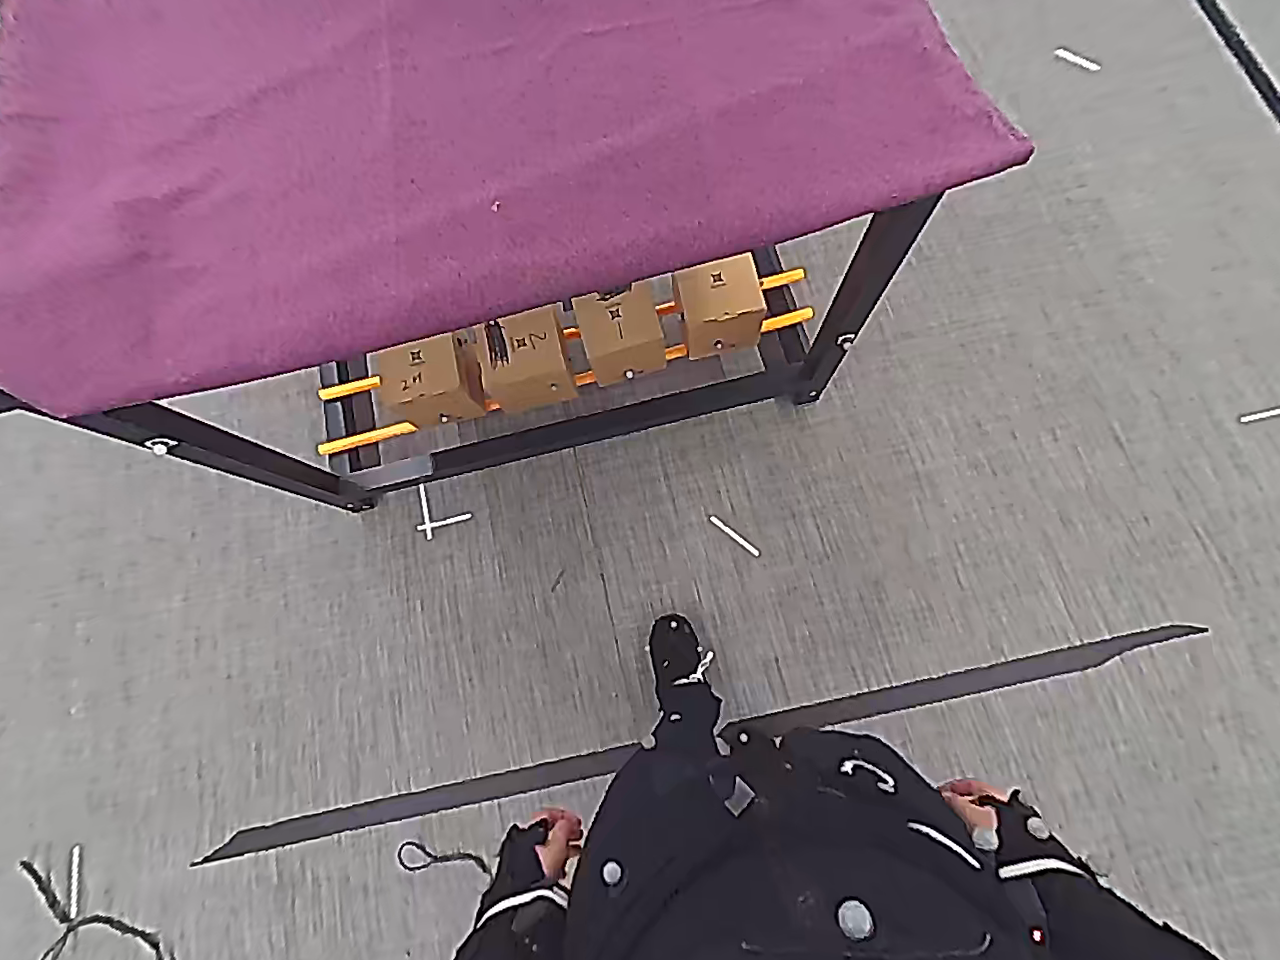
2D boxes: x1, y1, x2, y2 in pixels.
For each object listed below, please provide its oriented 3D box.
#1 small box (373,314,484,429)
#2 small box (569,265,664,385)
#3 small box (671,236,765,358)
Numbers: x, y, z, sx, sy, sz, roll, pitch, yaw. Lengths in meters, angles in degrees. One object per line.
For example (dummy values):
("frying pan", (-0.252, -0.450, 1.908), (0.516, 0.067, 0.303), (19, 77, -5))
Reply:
("small box", (-0.462, -0.233, 1.197), (0.168, 0.176, 0.179), (-14, 78, 1))
("small box", (-0.047, -0.335, 1.195), (0.168, 0.176, 0.179), (-16, 79, 1))
("small box", (0.165, -0.396, 1.192), (0.168, 0.176, 0.179), (-12, 78, 2))
